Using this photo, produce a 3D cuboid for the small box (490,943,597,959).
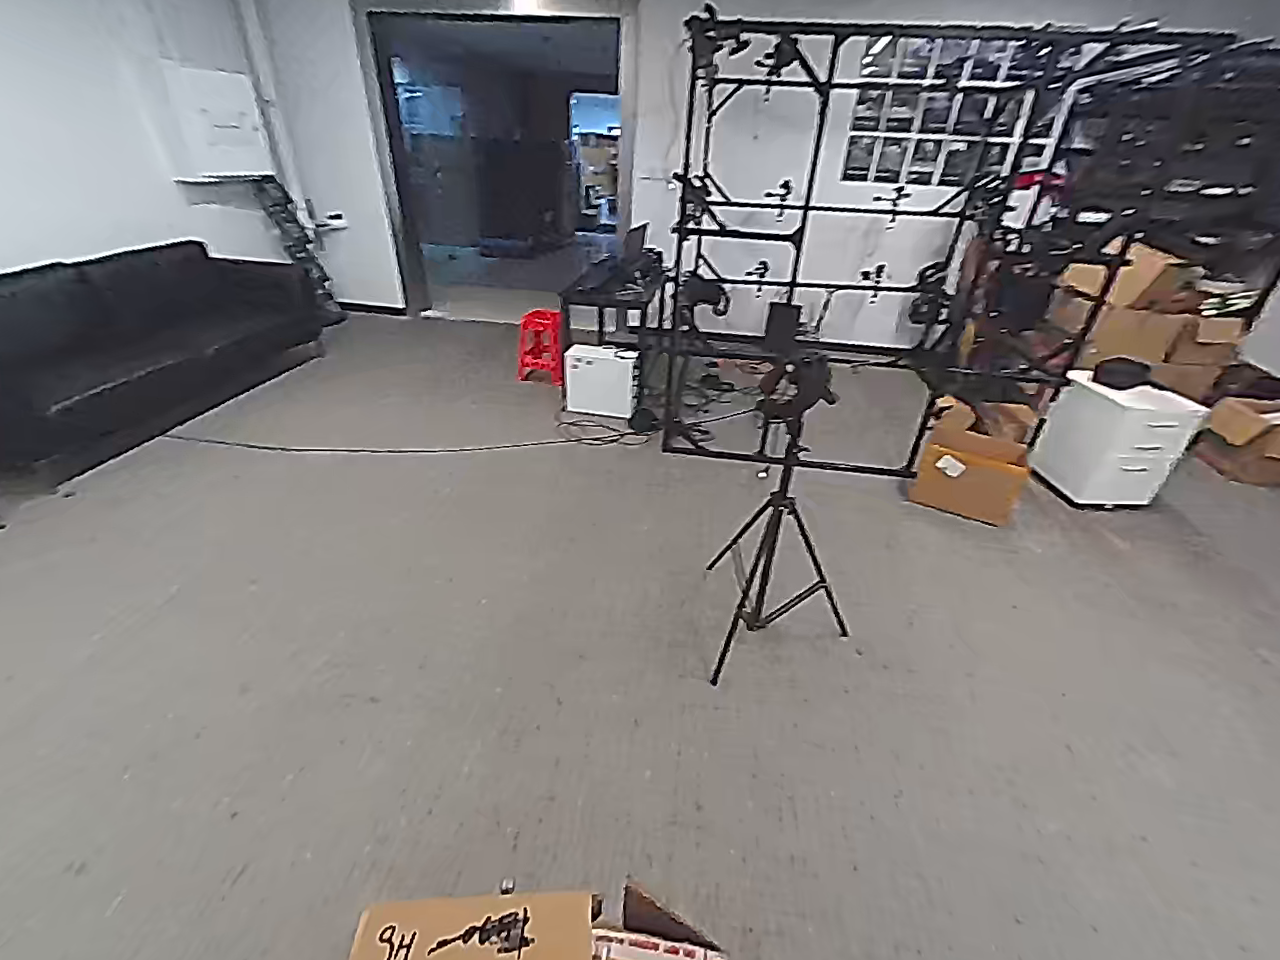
[{"bbox_3d":[-0.122,0.723,0.670,0.168,0.176,0.179,4,35,5],"label":"small box"}]
